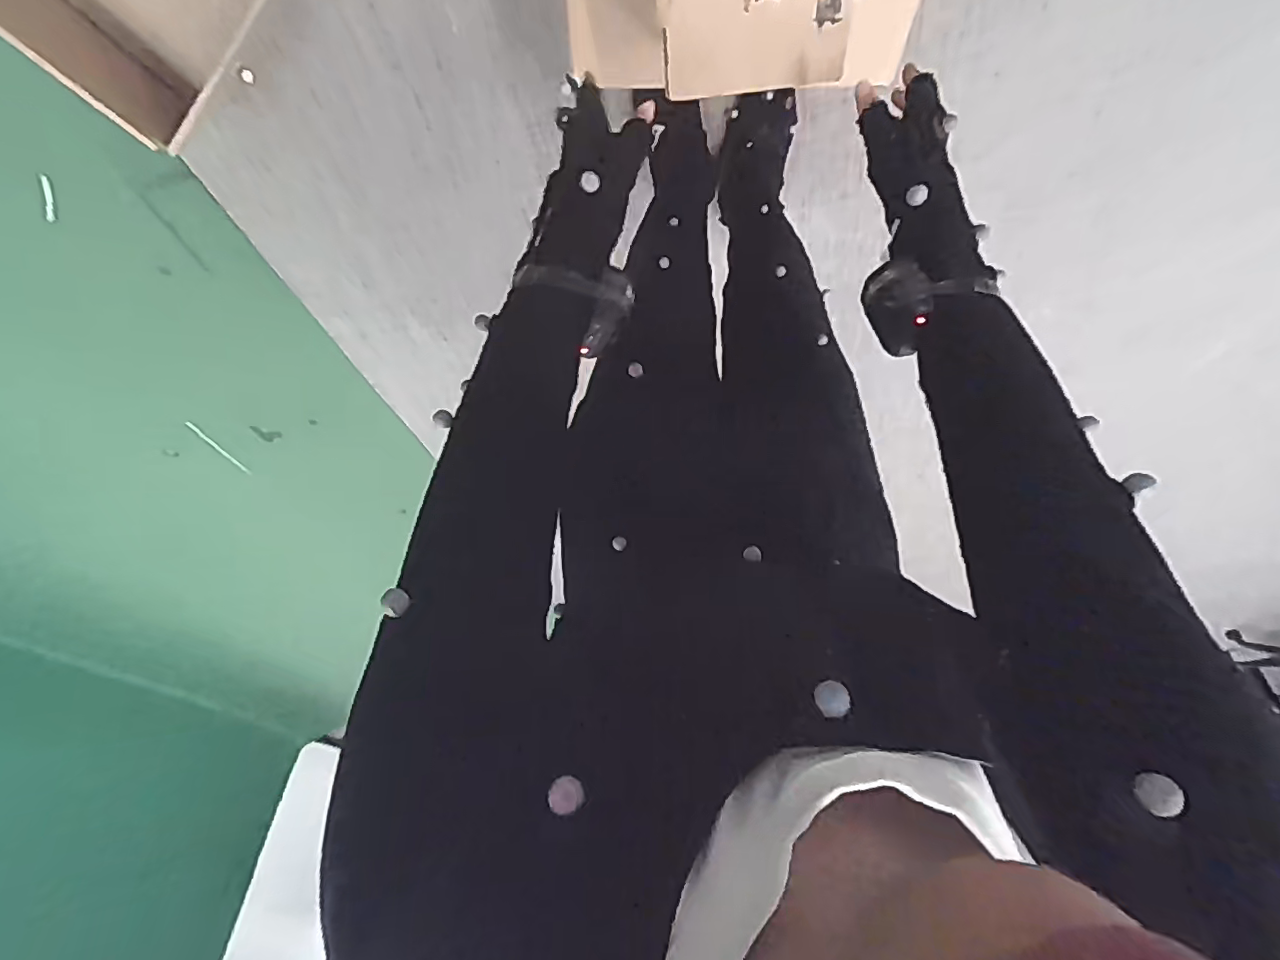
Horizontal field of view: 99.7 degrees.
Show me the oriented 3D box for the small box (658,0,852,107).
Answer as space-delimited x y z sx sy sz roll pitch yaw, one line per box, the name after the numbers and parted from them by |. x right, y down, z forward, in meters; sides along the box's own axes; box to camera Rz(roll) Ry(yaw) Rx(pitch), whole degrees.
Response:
0.106 -0.499 0.533 0.179 0.176 0.168 -3 143 6 | small box
